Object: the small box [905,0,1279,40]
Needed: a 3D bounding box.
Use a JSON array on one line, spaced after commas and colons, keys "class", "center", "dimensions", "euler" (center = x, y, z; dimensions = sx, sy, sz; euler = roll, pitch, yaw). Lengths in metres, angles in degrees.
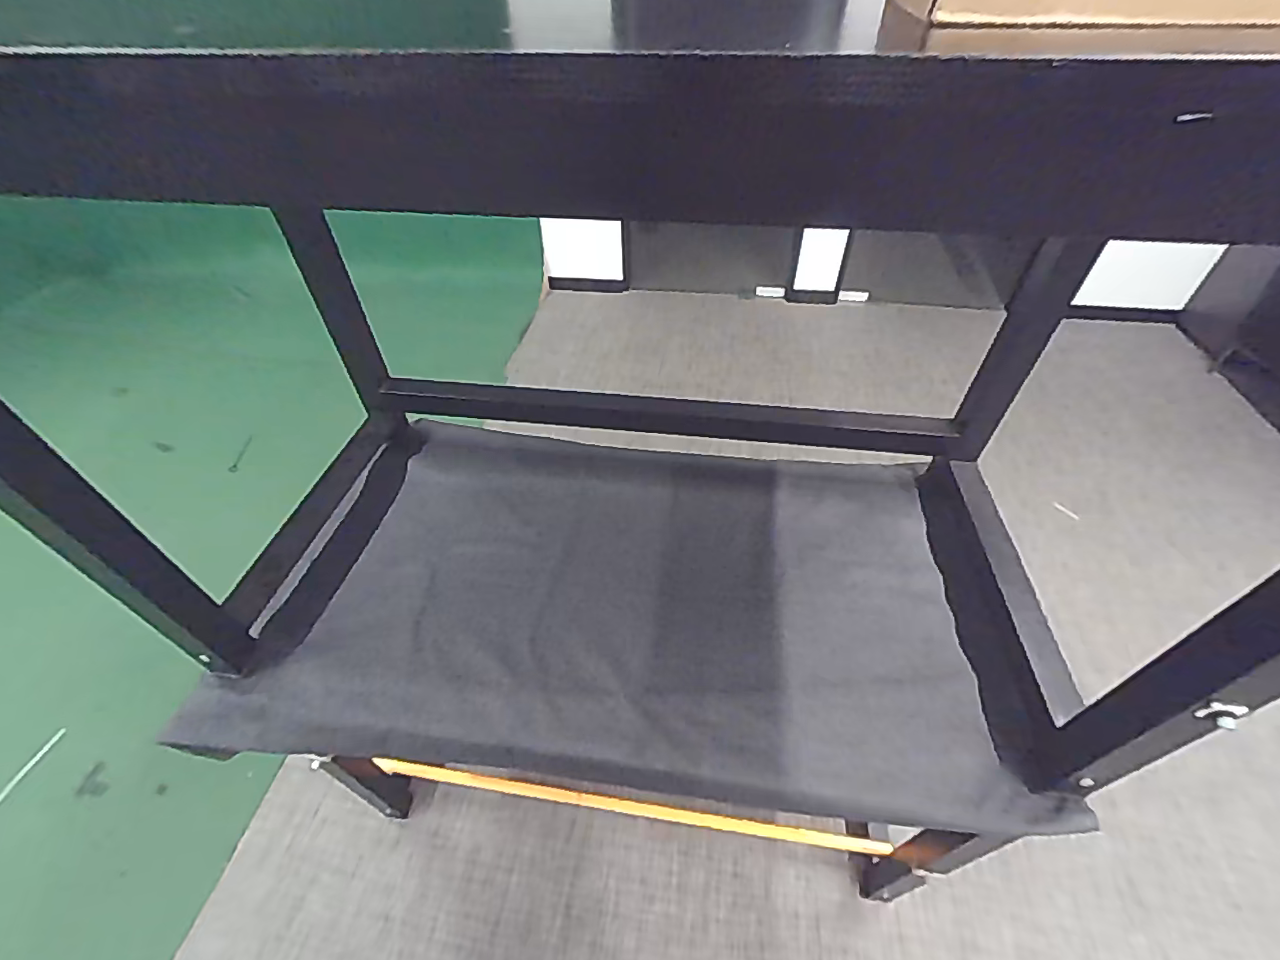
[{"class": "small box", "center": [0.224, -0.314, 0.235], "dimensions": [0.168, 0.176, 0.179], "euler": [9, 46, 9]}]
